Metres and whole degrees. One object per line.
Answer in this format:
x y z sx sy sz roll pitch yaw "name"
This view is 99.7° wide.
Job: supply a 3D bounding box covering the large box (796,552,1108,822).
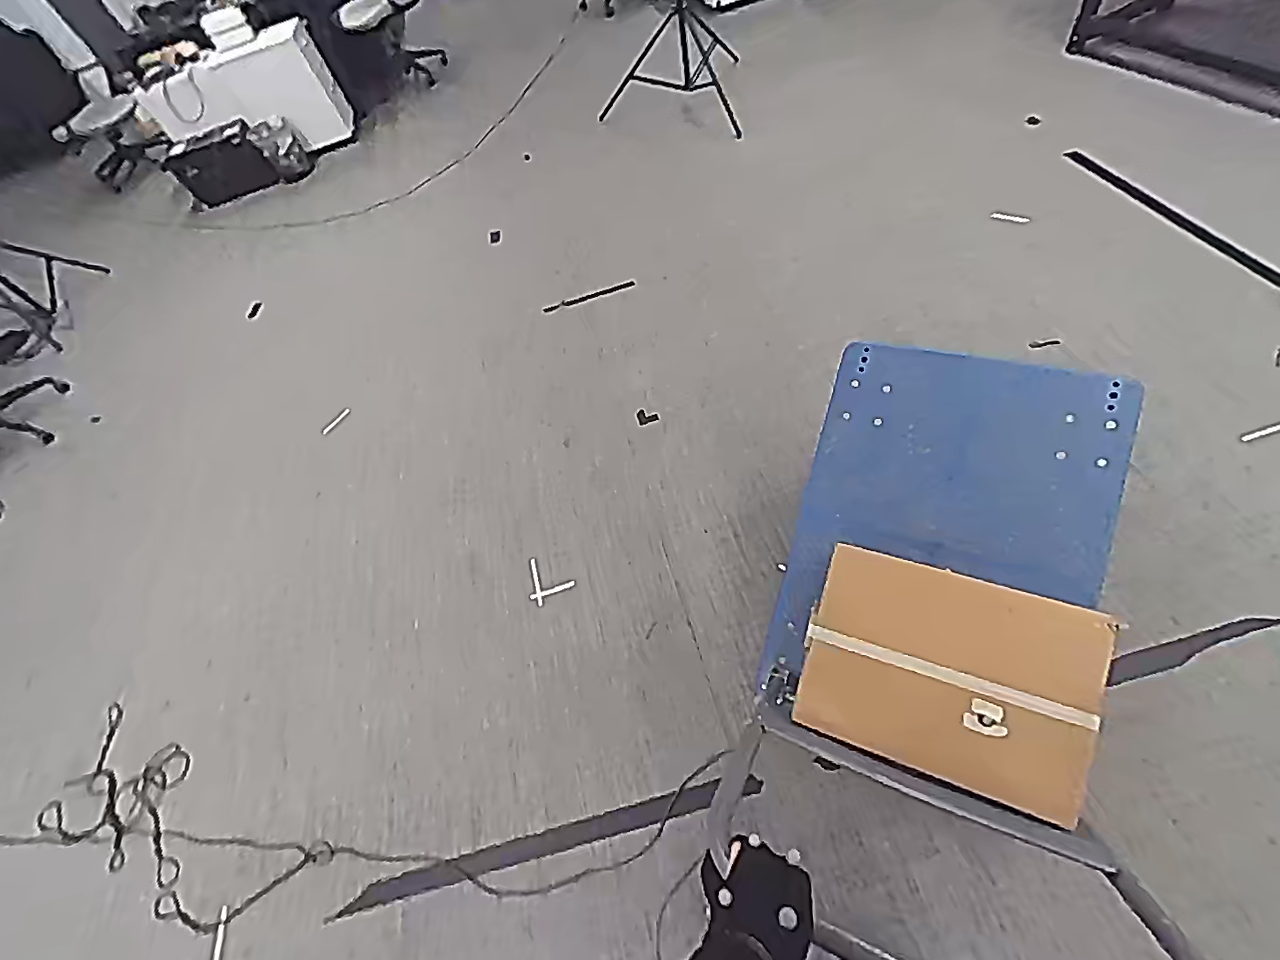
0.529 0.338 1.003 0.408 0.320 0.320 14 85 21 "large box"
